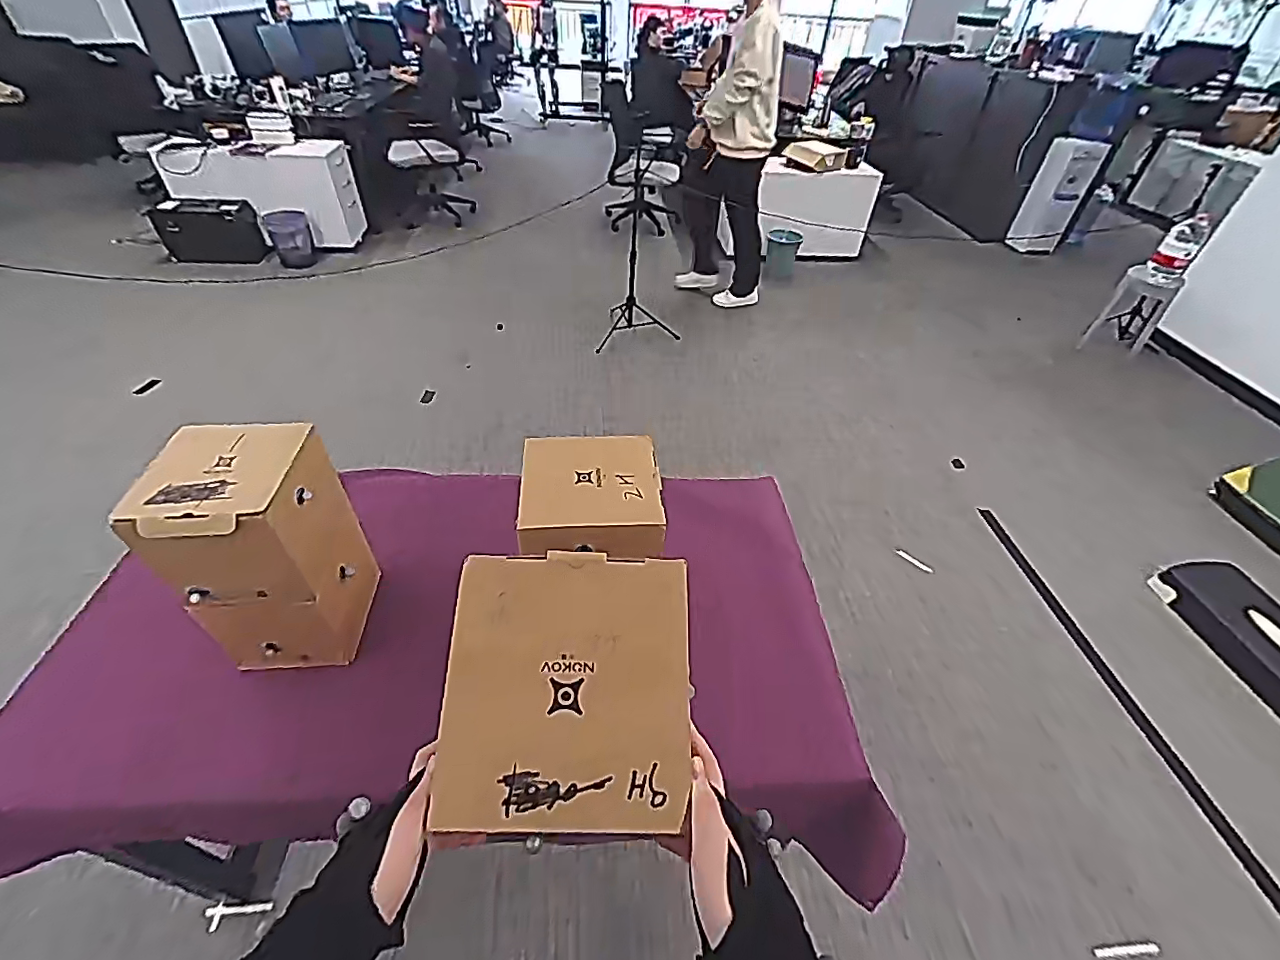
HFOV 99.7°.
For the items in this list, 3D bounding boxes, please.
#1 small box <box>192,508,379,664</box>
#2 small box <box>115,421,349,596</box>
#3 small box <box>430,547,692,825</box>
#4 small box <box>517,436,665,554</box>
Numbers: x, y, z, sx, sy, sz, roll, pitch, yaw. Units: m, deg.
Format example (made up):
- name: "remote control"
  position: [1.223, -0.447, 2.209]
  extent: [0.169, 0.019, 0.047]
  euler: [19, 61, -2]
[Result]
- name: "small box"
  position: [-0.523, 0.161, 0.833]
  extent: [0.168, 0.176, 0.179]
  euler: [-1, 44, -6]
- name: "small box"
  position: [-0.515, 0.041, 0.721]
  extent: [0.168, 0.176, 0.179]
  euler: [-1, 43, -7]
- name: "small box"
  position: [-0.049, 0.165, 0.441]
  extent: [0.168, 0.176, 0.179]
  euler: [2, 66, 0]
- name: "small box"
  position: [-0.065, 0.057, 0.737]
  extent: [0.179, 0.176, 0.168]
  euler: [-1, 44, -6]
